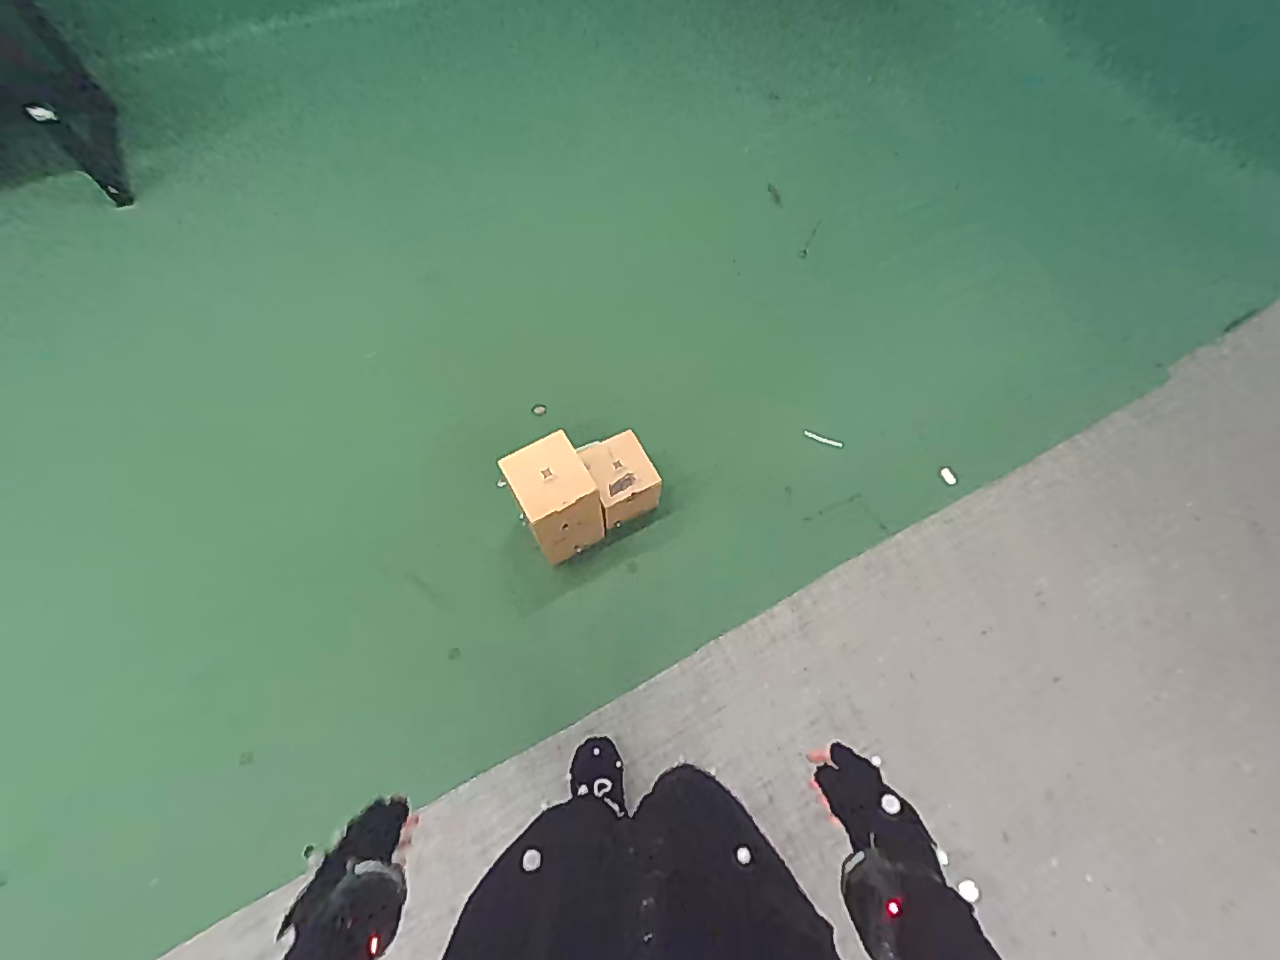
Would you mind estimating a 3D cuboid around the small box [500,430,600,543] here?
[{"bbox_3d":[-0.206,0.021,1.267,0.168,0.176,0.179,-29,71,-14],"label":"small box"}]
